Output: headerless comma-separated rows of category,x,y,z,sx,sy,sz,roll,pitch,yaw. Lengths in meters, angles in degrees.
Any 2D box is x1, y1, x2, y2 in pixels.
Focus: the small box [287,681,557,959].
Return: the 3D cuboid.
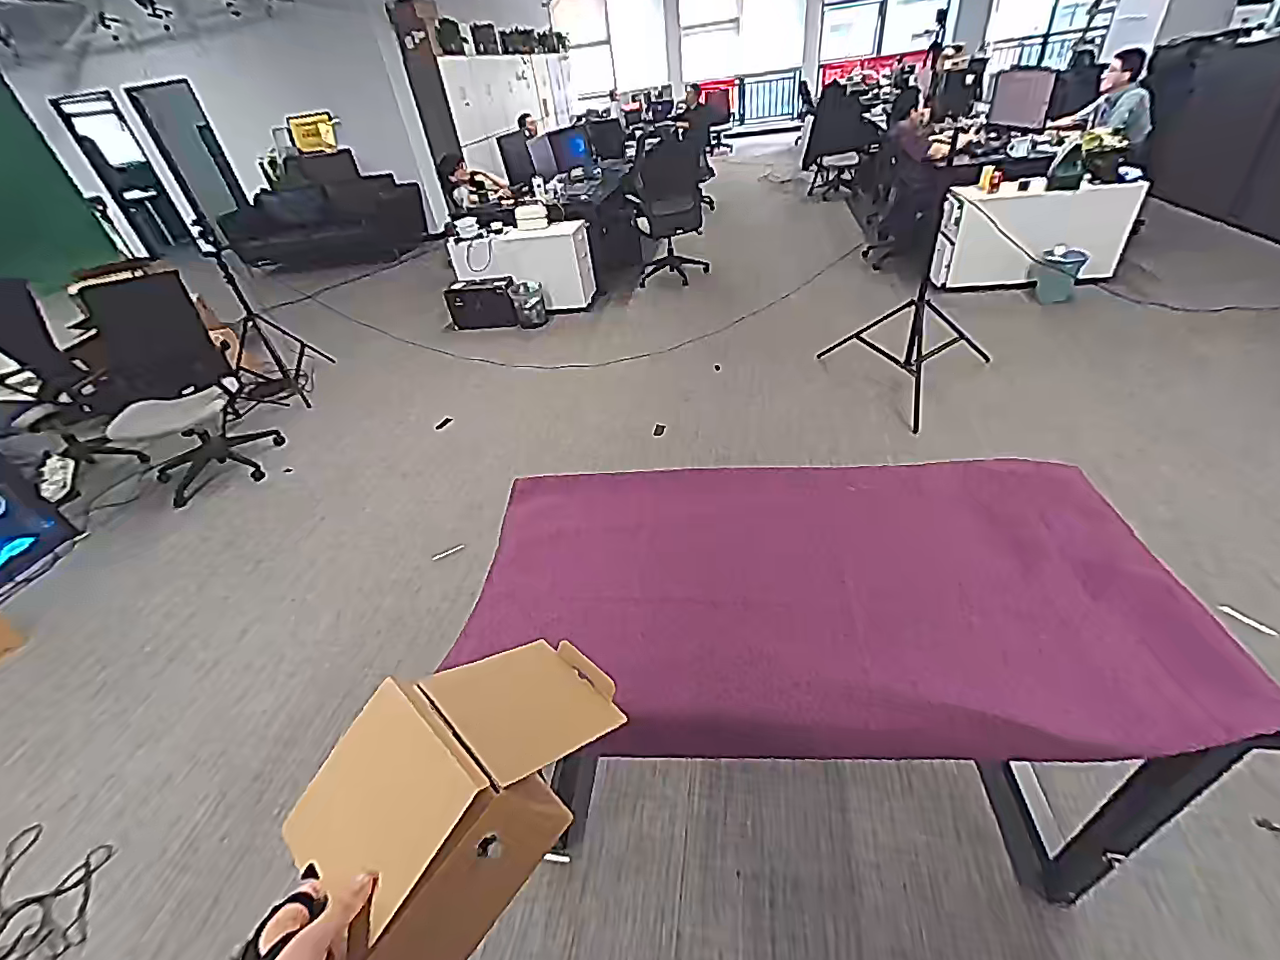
small box,-0.208,0.353,0.563,0.168,0.176,0.179,28,66,37
